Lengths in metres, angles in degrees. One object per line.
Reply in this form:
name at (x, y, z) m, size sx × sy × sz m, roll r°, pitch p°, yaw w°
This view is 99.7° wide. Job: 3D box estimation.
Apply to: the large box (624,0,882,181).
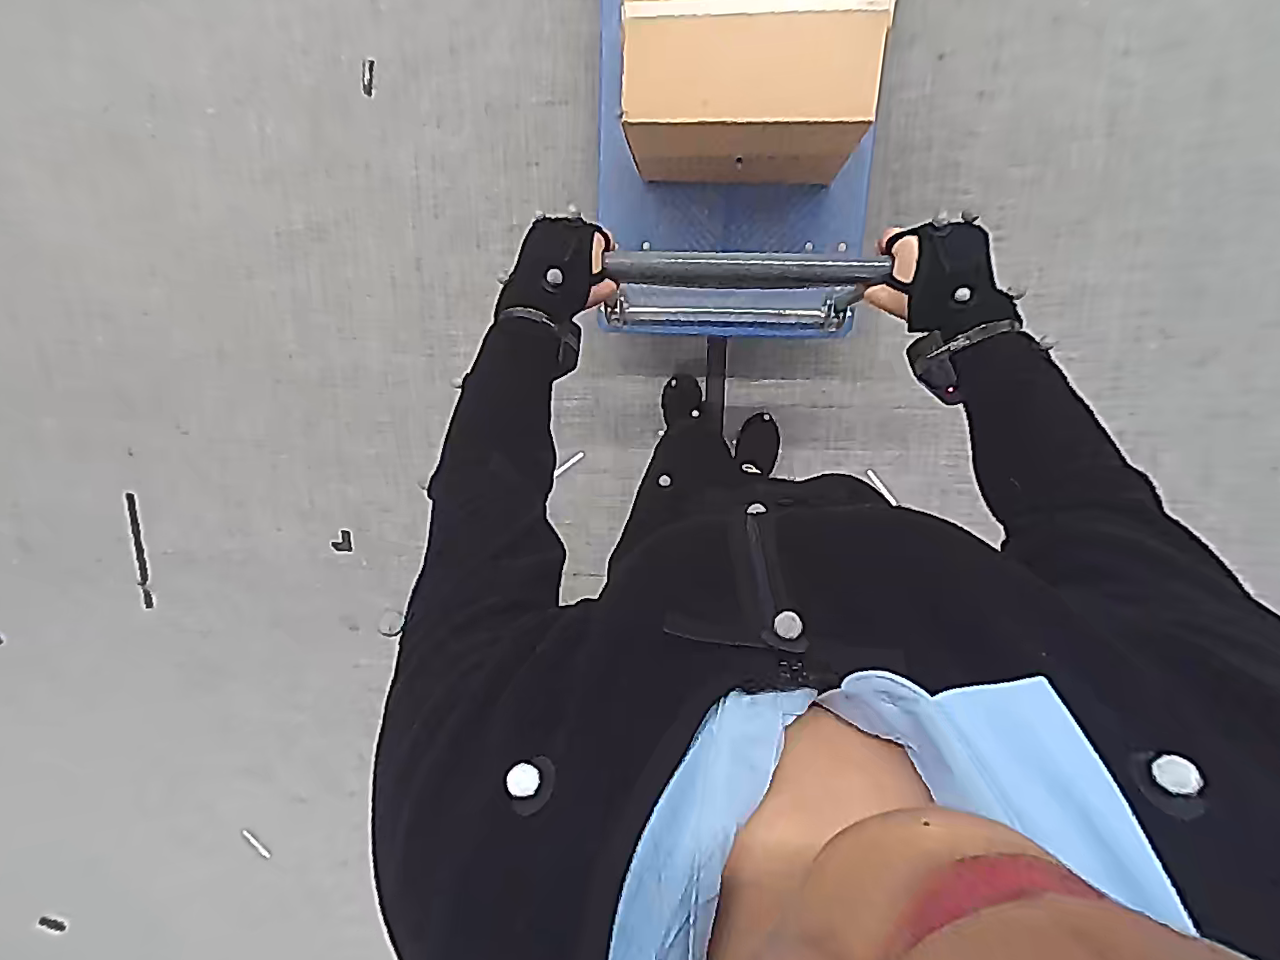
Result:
large box at (0.195, -0.764, 0.993) m, size 0.408 × 0.320 × 0.320 m, roll 4°, pitch 102°, yaw 7°
